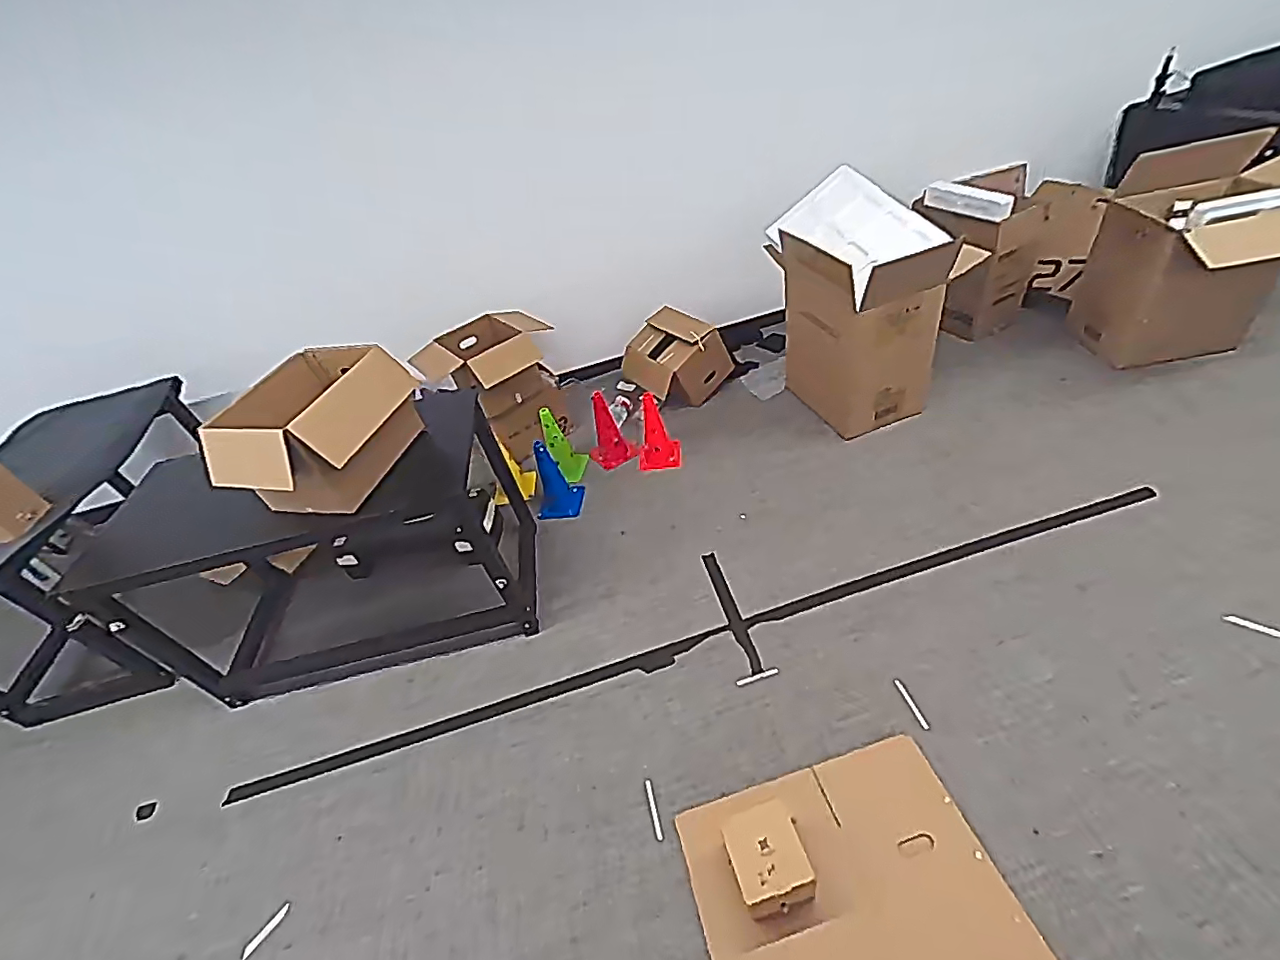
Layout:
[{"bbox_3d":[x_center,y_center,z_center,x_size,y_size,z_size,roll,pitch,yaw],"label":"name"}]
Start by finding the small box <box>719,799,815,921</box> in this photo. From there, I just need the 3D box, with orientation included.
[{"bbox_3d":[0.298,0.903,1.286,0.168,0.176,0.179,-19,41,-4],"label":"small box"}]
